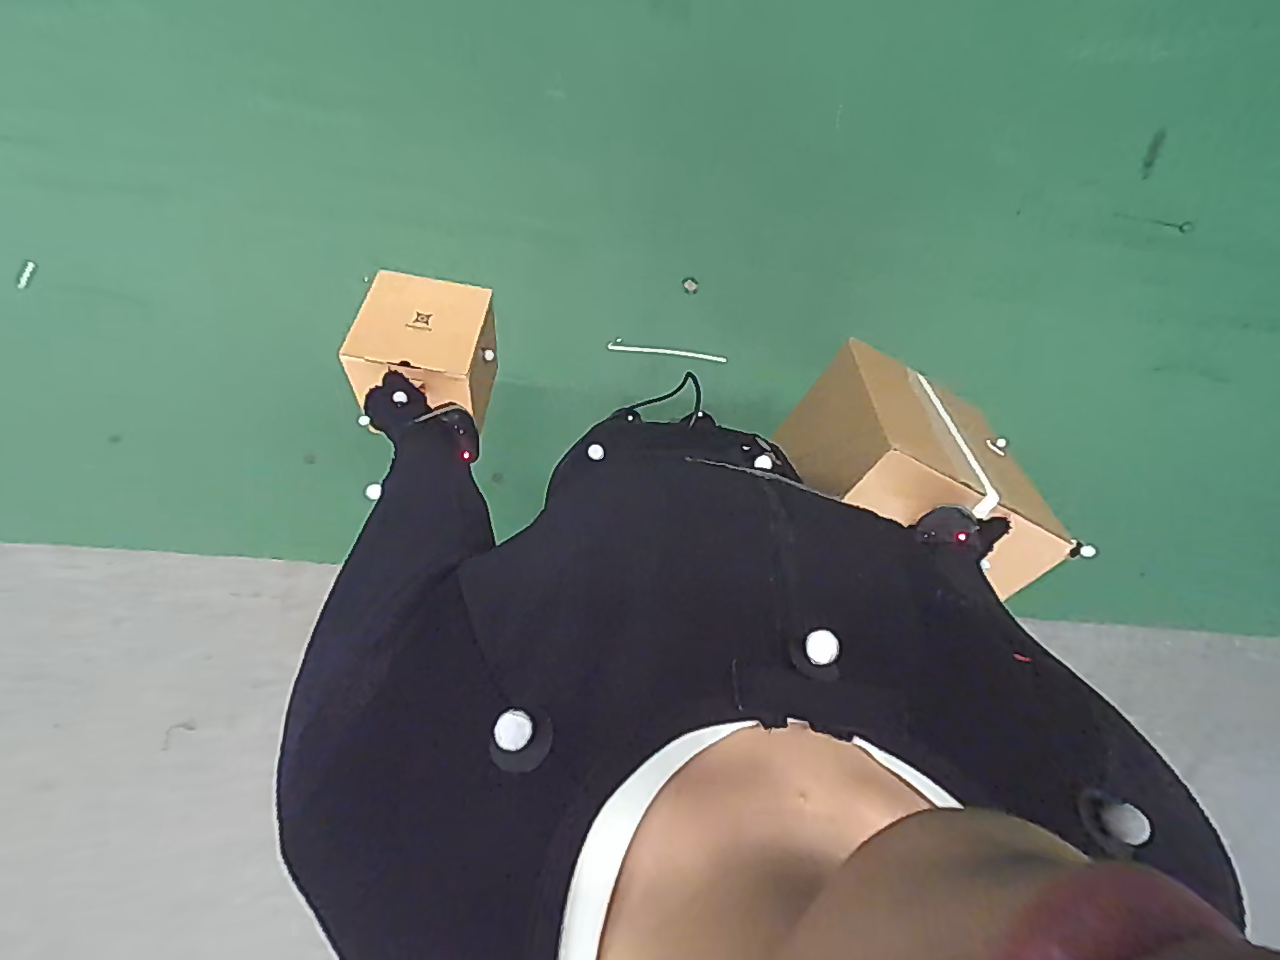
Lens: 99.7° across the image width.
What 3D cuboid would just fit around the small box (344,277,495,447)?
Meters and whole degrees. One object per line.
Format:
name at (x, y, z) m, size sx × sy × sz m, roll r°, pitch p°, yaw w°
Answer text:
small box at (-0.322, -0.176, 0.833) m, size 0.168 × 0.176 × 0.179 m, roll 8°, pitch 58°, yaw -7°
